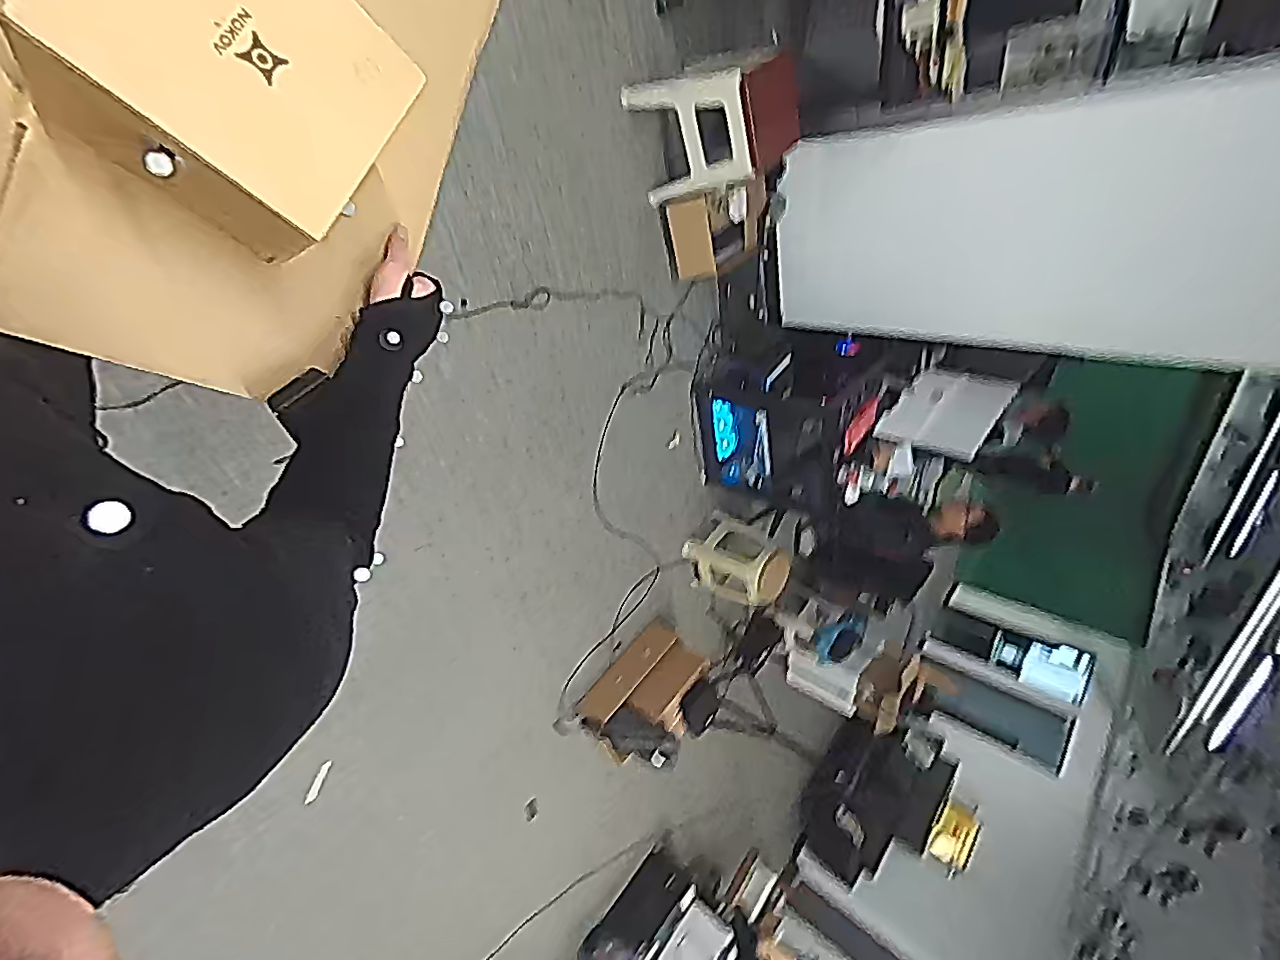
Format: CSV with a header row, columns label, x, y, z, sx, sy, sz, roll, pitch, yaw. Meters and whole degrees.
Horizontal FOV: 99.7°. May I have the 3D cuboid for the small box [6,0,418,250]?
label,x,y,z,sx,sy,sz,roll,pitch,yaw
small box,-0.319,-0.307,0.429,0.179,0.176,0.168,33,78,-42
